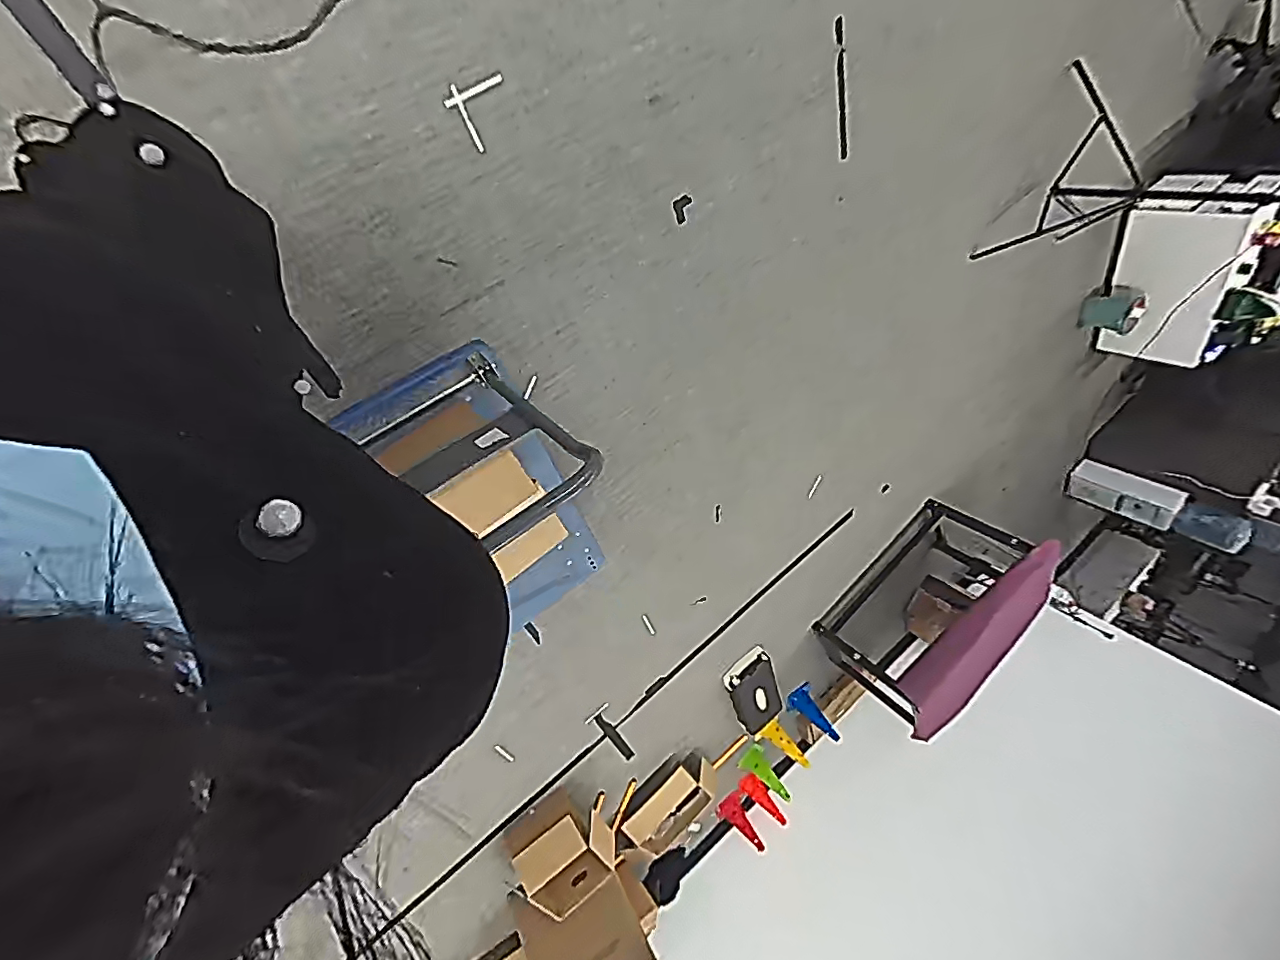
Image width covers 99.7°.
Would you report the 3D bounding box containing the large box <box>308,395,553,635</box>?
[{"bbox_3d":[-0.489,0.068,1.280,0.408,0.320,0.320,-38,131,-13],"label":"large box"}]
